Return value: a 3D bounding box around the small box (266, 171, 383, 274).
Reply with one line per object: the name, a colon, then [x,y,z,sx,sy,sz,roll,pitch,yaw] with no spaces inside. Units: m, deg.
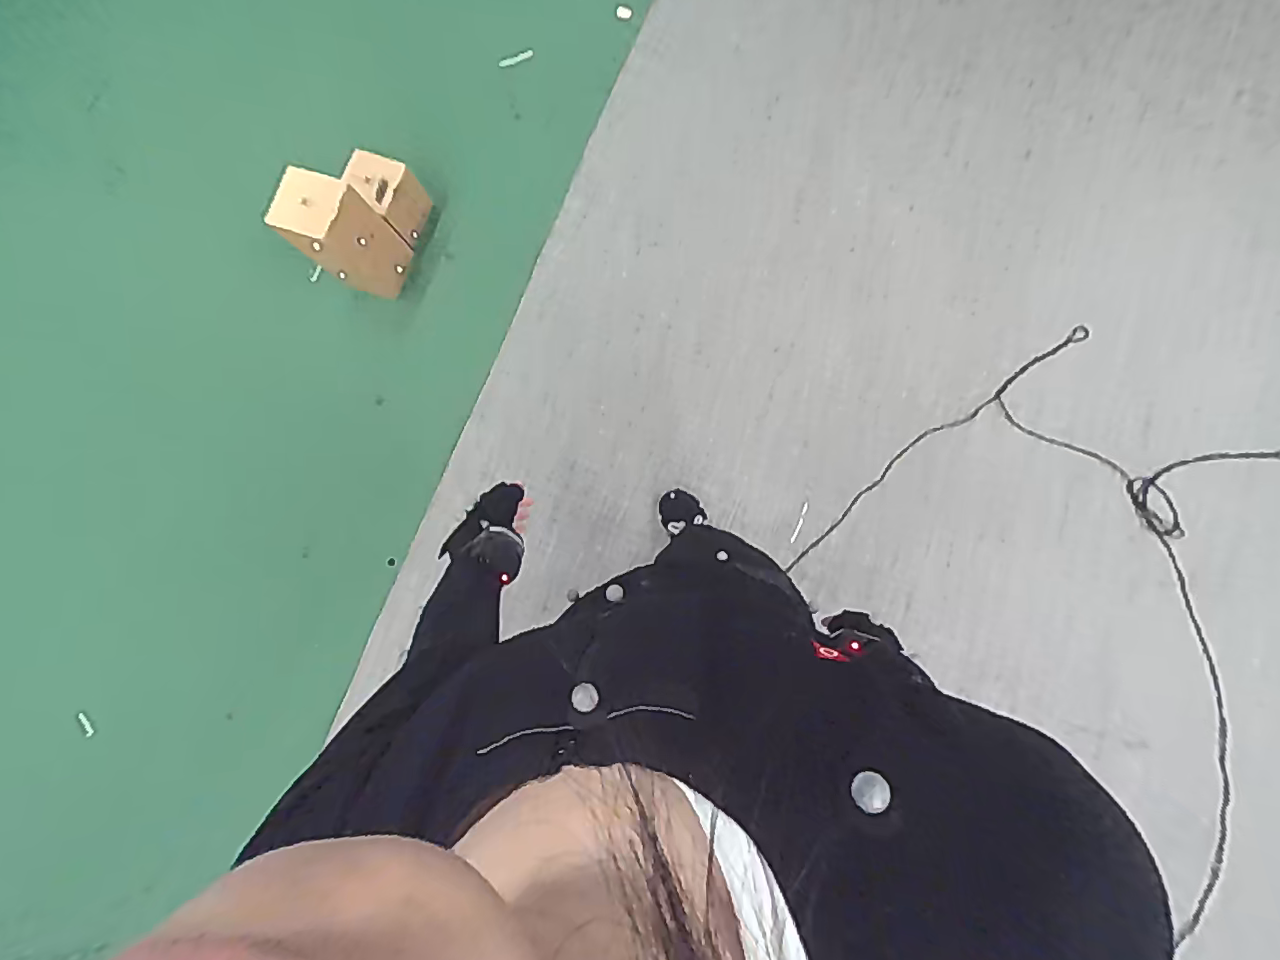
small box: [-0.830,-0.676,1.439,0.179,0.176,0.168,18,84,7]
